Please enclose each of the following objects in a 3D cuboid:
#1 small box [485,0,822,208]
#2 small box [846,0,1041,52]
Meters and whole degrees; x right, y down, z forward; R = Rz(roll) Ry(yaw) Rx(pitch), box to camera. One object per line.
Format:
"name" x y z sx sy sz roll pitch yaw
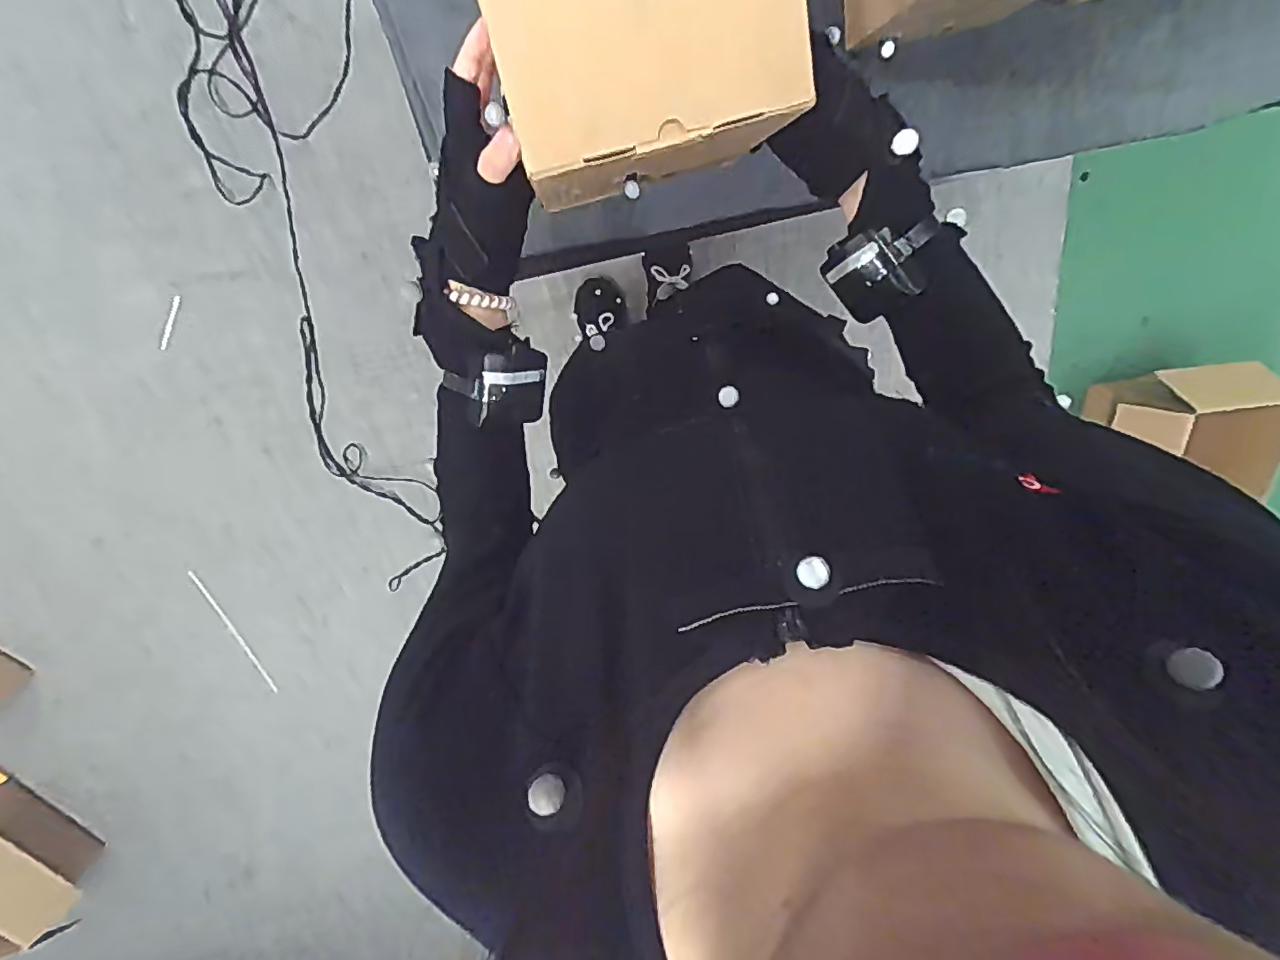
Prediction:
"small box" -0.009 -0.291 0.339 0.168 0.176 0.179 -16 112 -2
"small box" 0.294 -0.513 0.476 0.168 0.176 0.179 -13 113 -1
